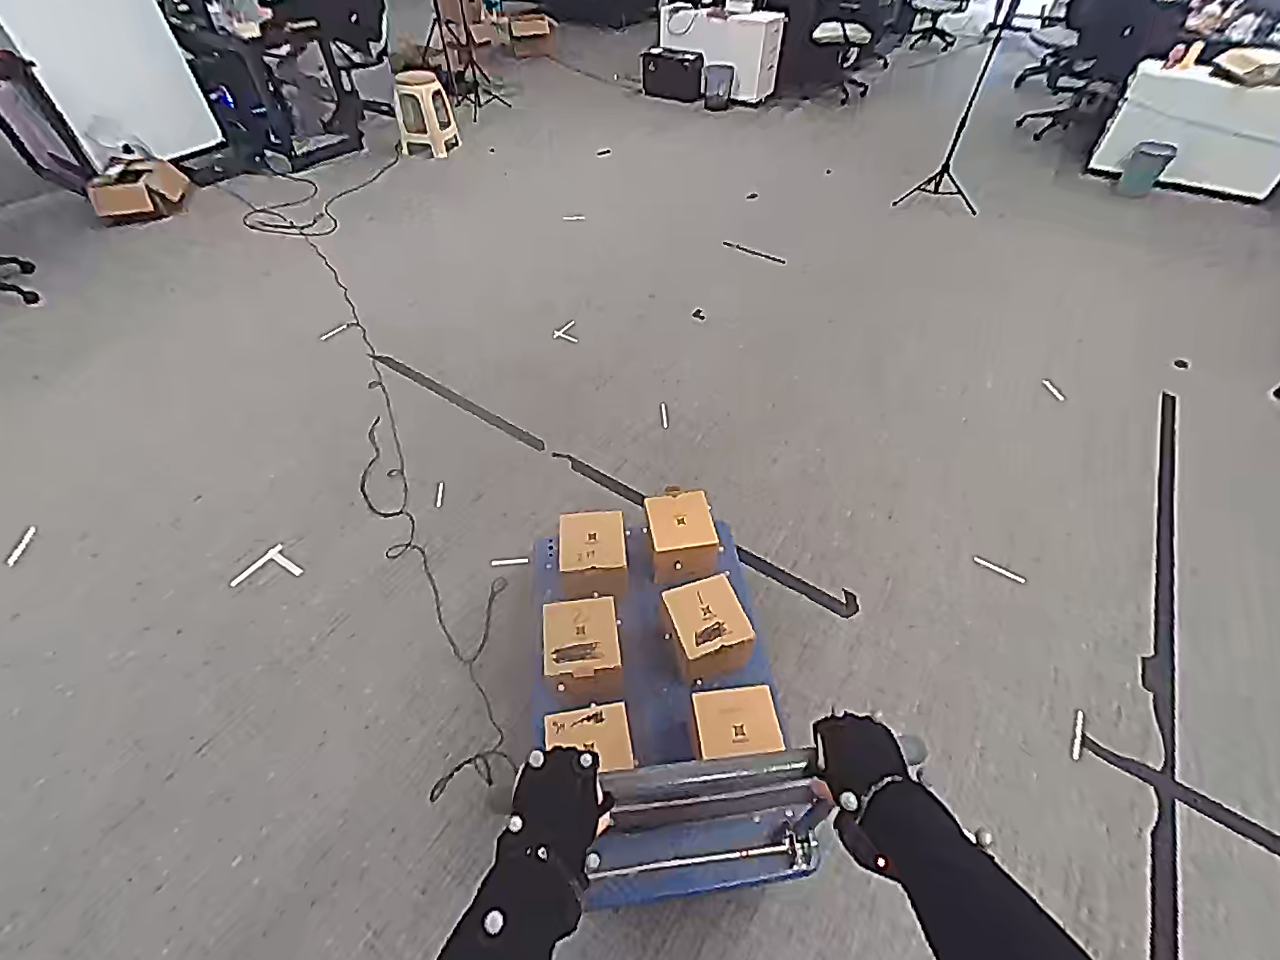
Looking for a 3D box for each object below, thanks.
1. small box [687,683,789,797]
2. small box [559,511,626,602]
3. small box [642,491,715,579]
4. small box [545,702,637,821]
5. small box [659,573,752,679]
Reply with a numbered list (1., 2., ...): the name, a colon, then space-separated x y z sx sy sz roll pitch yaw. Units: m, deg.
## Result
1. small box: 0.197 0.552 1.139 0.168 0.176 0.179 -4 48 -5
2. small box: -0.125 0.204 1.435 0.168 0.176 0.179 -4 50 -4
3. small box: 0.101 0.157 1.480 0.168 0.176 0.179 -8 49 -7
4. small box: -0.098 0.581 1.108 0.168 0.176 0.179 -7 50 -8
5. small box: 0.151 0.359 1.304 0.168 0.176 0.179 -14 50 -13
